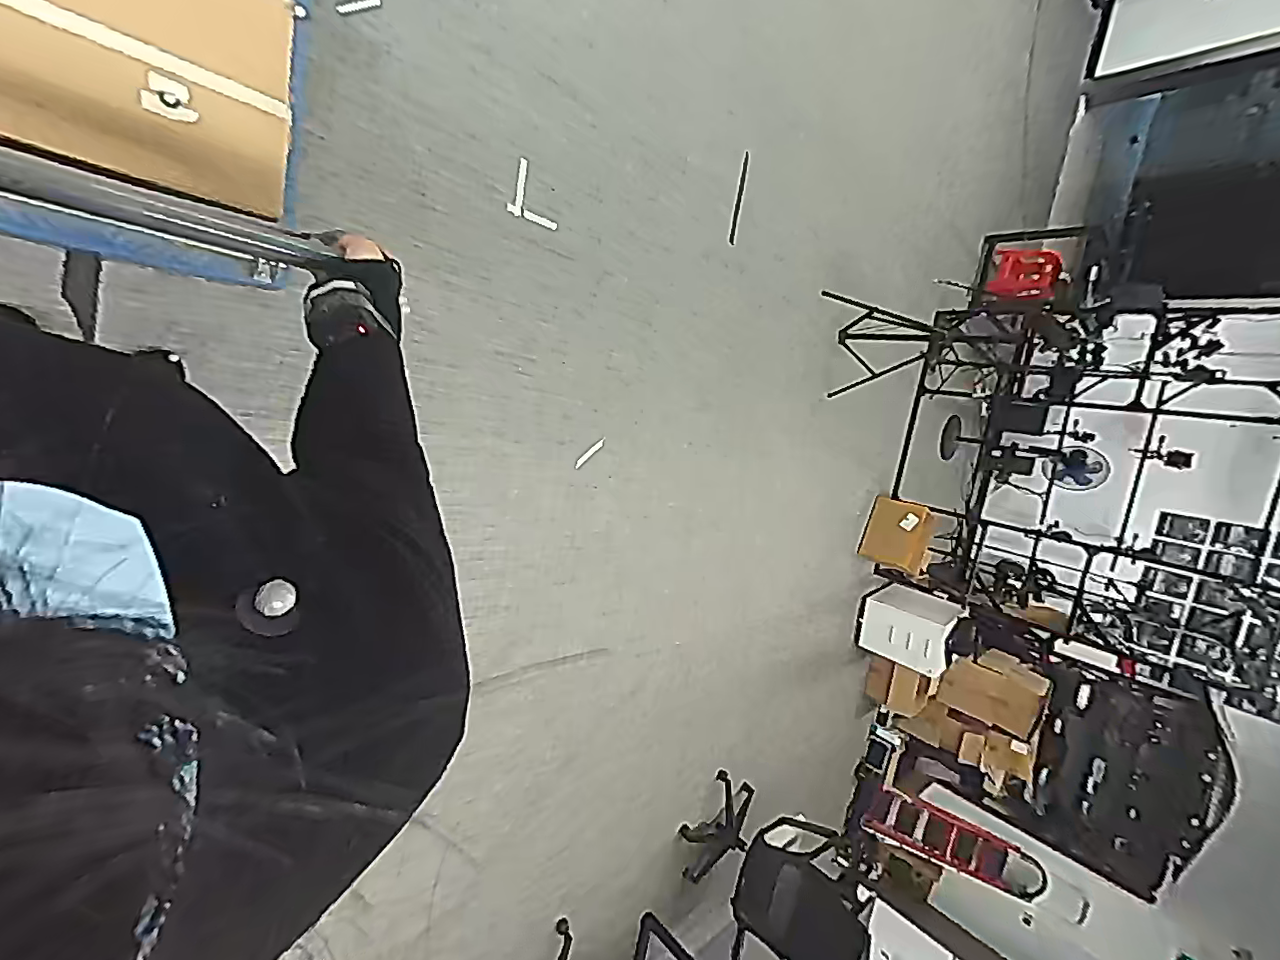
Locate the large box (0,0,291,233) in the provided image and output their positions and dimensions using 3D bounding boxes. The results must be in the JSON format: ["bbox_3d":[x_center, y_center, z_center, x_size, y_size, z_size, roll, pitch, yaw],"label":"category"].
[{"bbox_3d":[-0.783,-0.591,0.780,0.408,0.320,0.320,1,102,-46],"label":"large box"}]
